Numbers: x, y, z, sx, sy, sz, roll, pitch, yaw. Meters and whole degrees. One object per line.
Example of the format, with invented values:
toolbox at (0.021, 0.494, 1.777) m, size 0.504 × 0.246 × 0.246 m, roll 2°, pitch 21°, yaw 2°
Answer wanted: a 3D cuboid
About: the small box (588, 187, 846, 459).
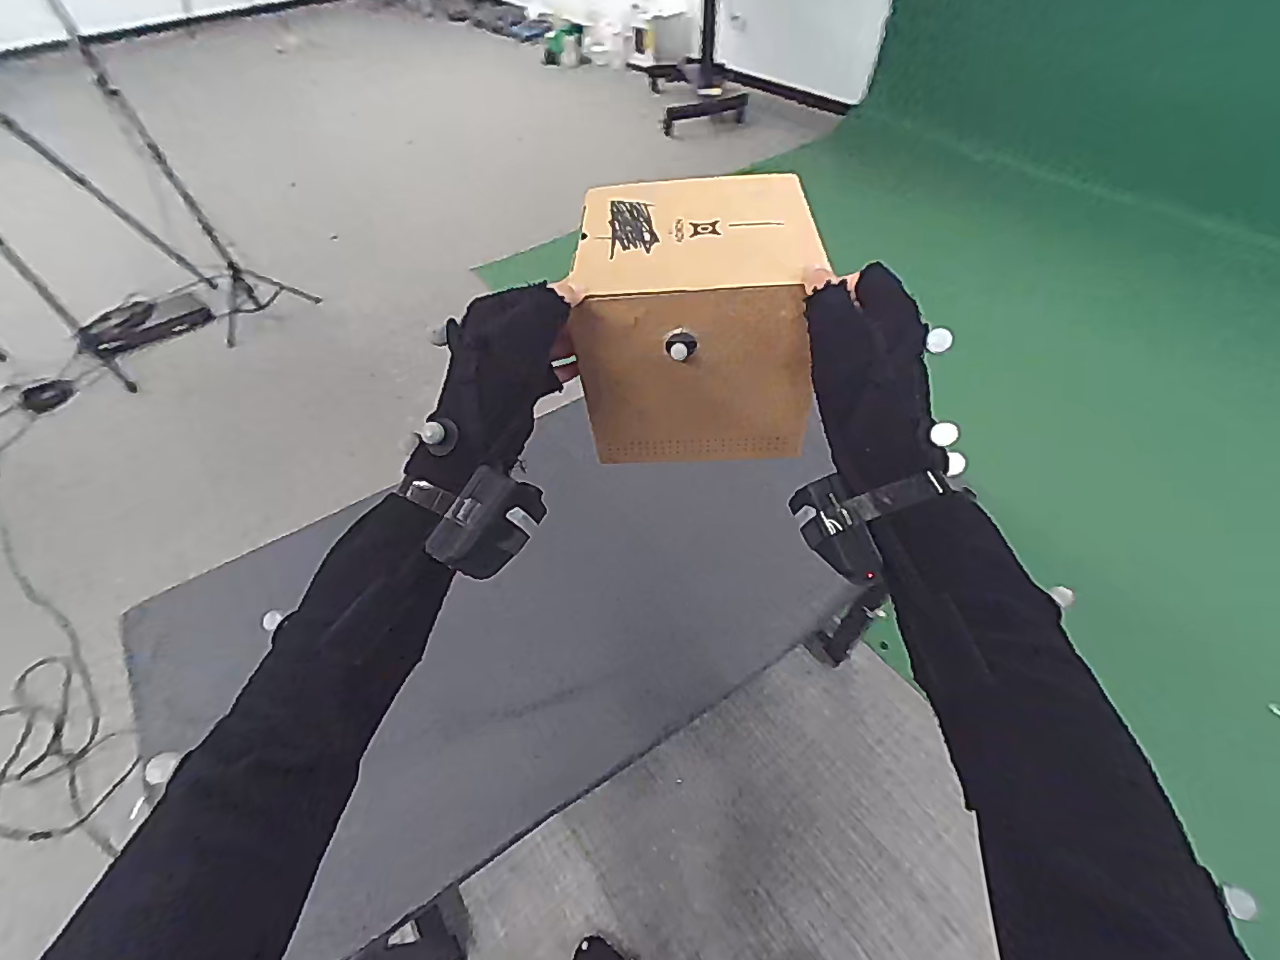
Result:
small box at (0.060, -0.131, 0.472) m, size 0.179 × 0.176 × 0.168 m, roll -1°, pitch 50°, yaw 4°
